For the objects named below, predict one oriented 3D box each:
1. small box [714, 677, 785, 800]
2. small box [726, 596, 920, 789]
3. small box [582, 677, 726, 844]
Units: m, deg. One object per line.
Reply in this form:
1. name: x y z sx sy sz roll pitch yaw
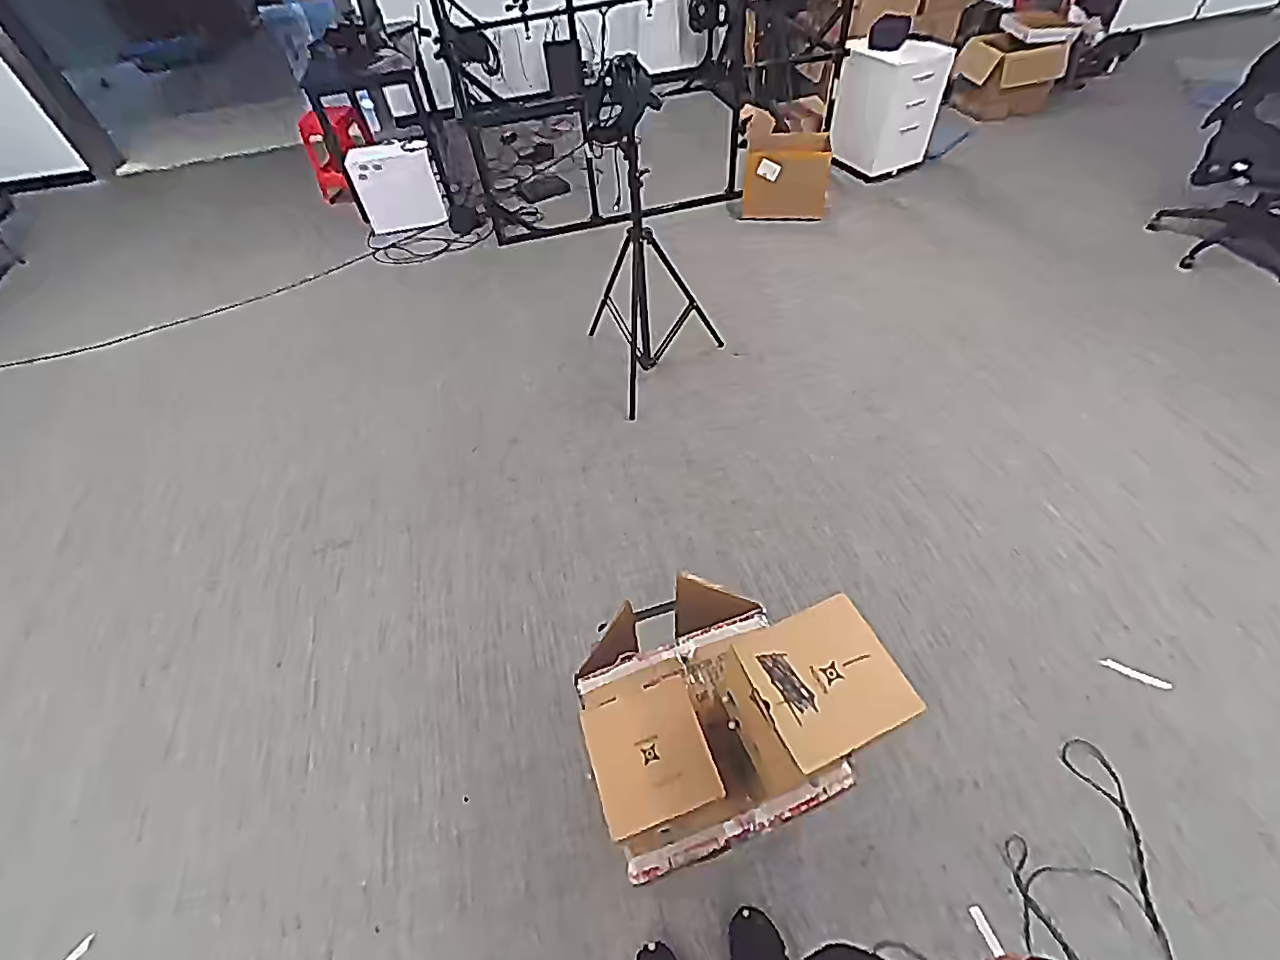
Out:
1. small box: 0.234 0.385 0.868 0.179 0.176 0.168 -20 55 -13
2. small box: 0.228 0.291 0.732 0.179 0.176 0.168 -21 56 -13
3. small box: 0.020 0.439 0.842 0.168 0.176 0.179 -19 56 -8
